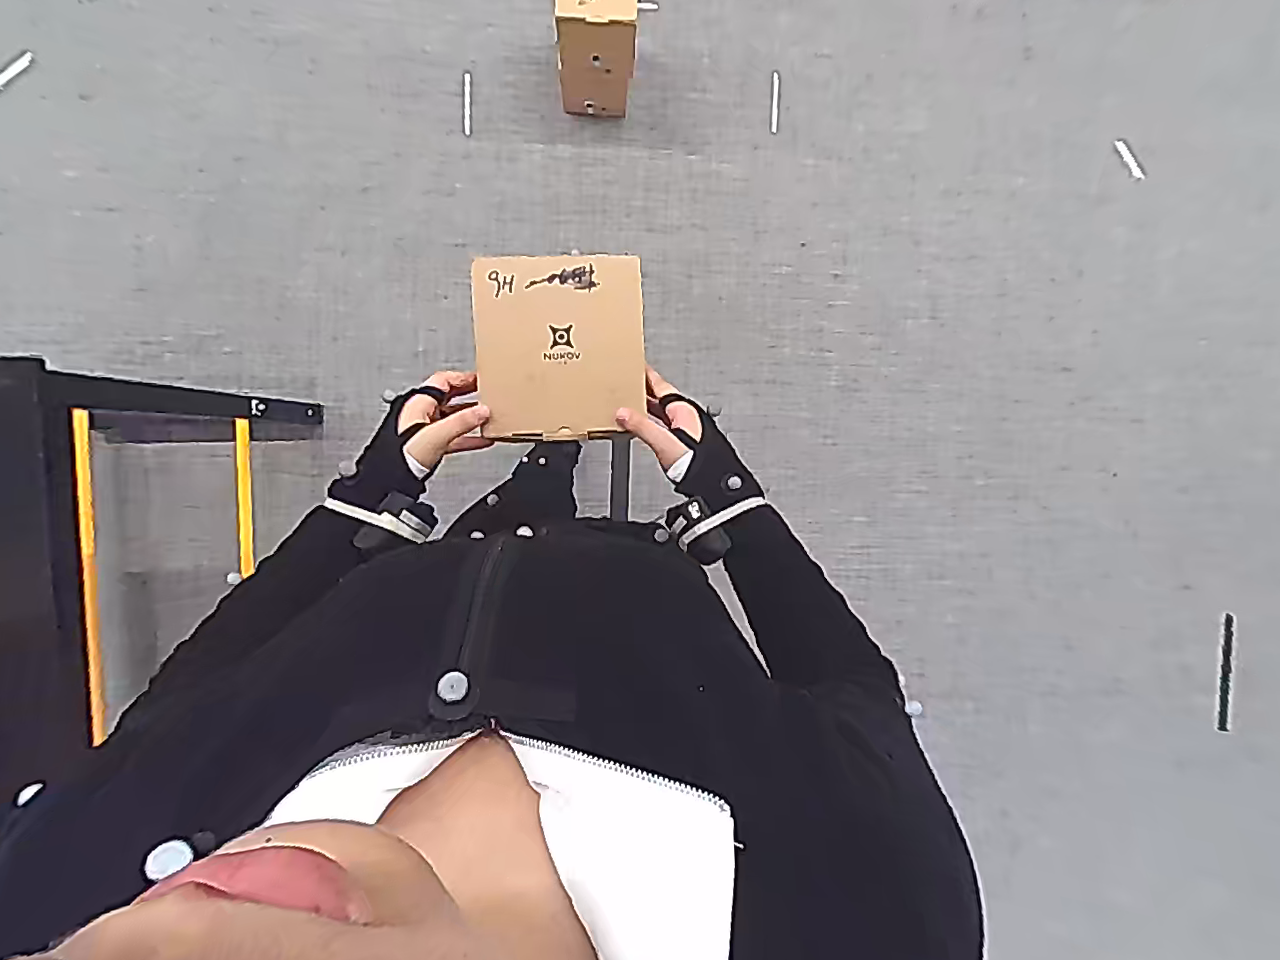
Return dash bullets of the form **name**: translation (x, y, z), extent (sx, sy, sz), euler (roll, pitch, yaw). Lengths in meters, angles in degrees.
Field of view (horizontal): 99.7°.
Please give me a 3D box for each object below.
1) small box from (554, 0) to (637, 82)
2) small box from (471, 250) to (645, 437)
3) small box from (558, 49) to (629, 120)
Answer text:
- **small box**: translation (-0.092, -1.000, 1.153), extent (0.168, 0.176, 0.179), euler (1, 94, -3)
- **small box**: translation (-0.083, -0.139, 0.604), extent (0.168, 0.176, 0.179), euler (-3, 94, -4)
- **small box**: translation (-0.110, -1.020, 1.316), extent (0.168, 0.176, 0.179), euler (1, 95, -3)
